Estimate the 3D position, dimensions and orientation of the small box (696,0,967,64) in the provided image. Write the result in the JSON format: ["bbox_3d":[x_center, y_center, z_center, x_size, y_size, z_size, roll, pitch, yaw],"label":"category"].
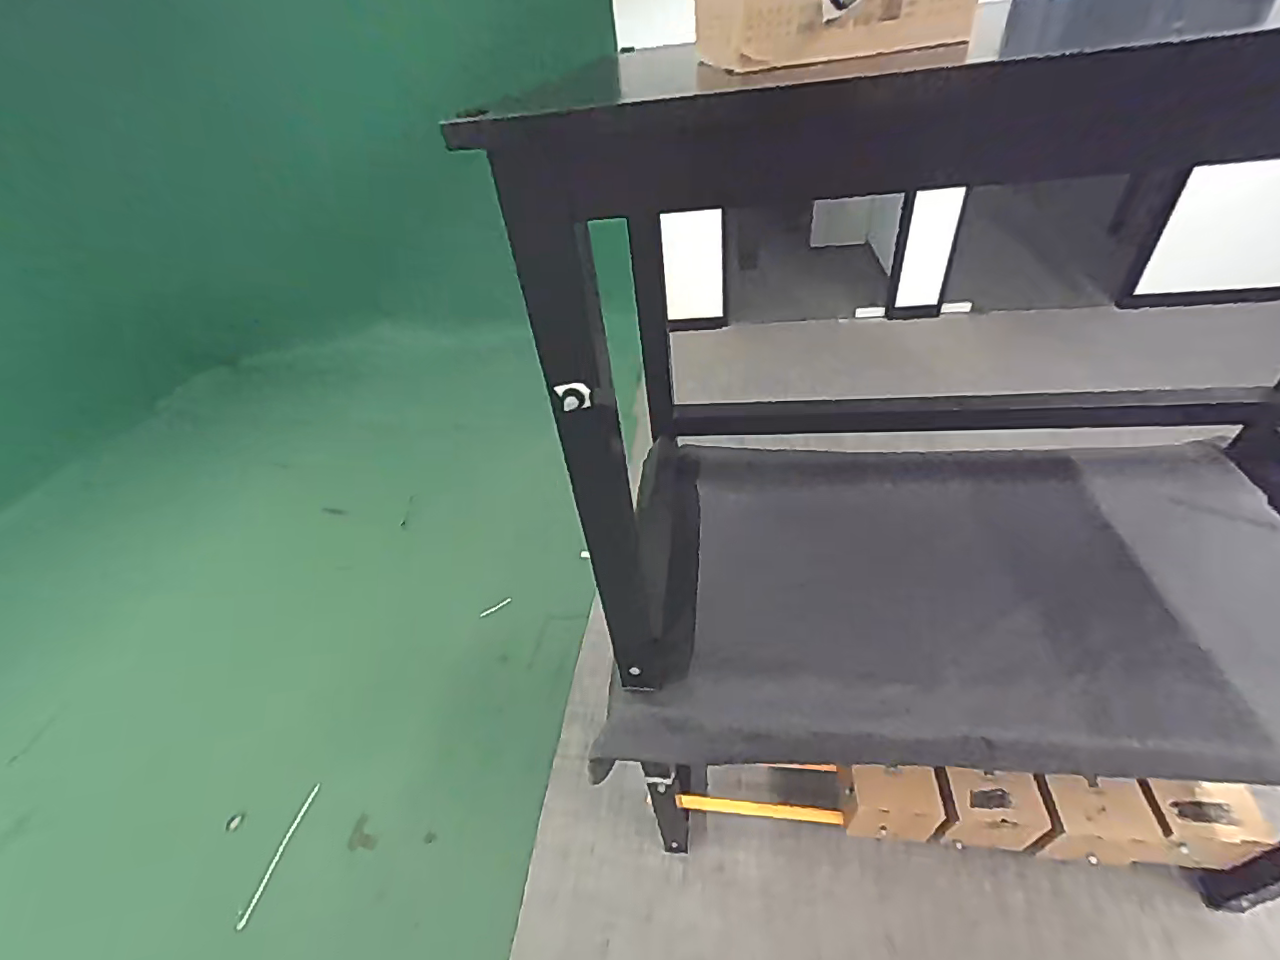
[{"bbox_3d":[0.130,-0.414,0.387,0.168,0.176,0.179,-9,41,1],"label":"small box"}]
